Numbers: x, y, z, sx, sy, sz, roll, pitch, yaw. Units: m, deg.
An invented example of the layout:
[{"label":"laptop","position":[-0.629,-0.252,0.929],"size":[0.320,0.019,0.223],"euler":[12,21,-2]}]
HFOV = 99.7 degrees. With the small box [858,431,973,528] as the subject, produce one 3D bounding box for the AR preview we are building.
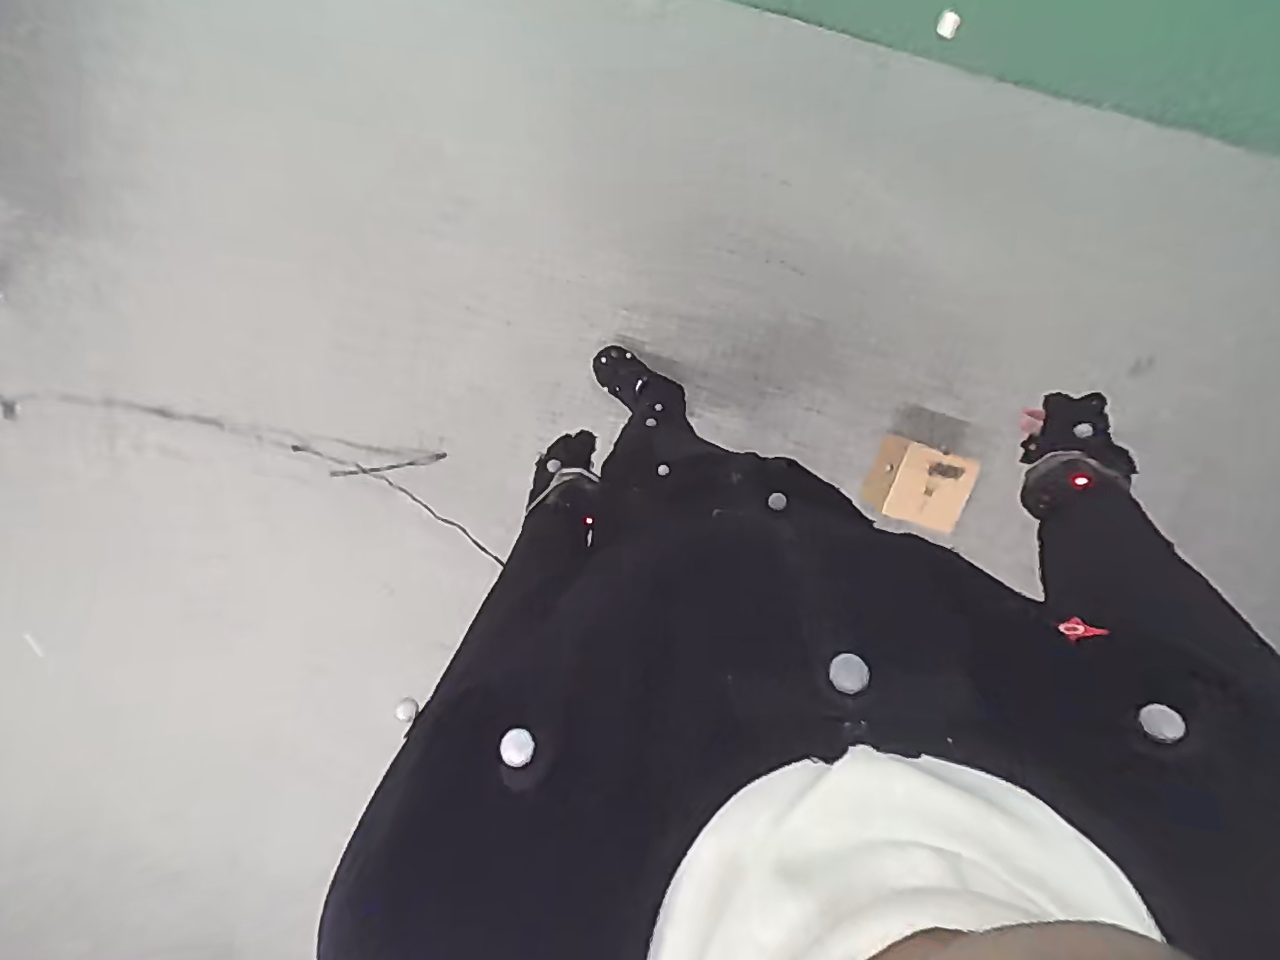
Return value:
[{"label":"small box","position":[0.654,-0.010,1.311],"size":[0.168,0.176,0.179],"euler":[19,102,3]}]
